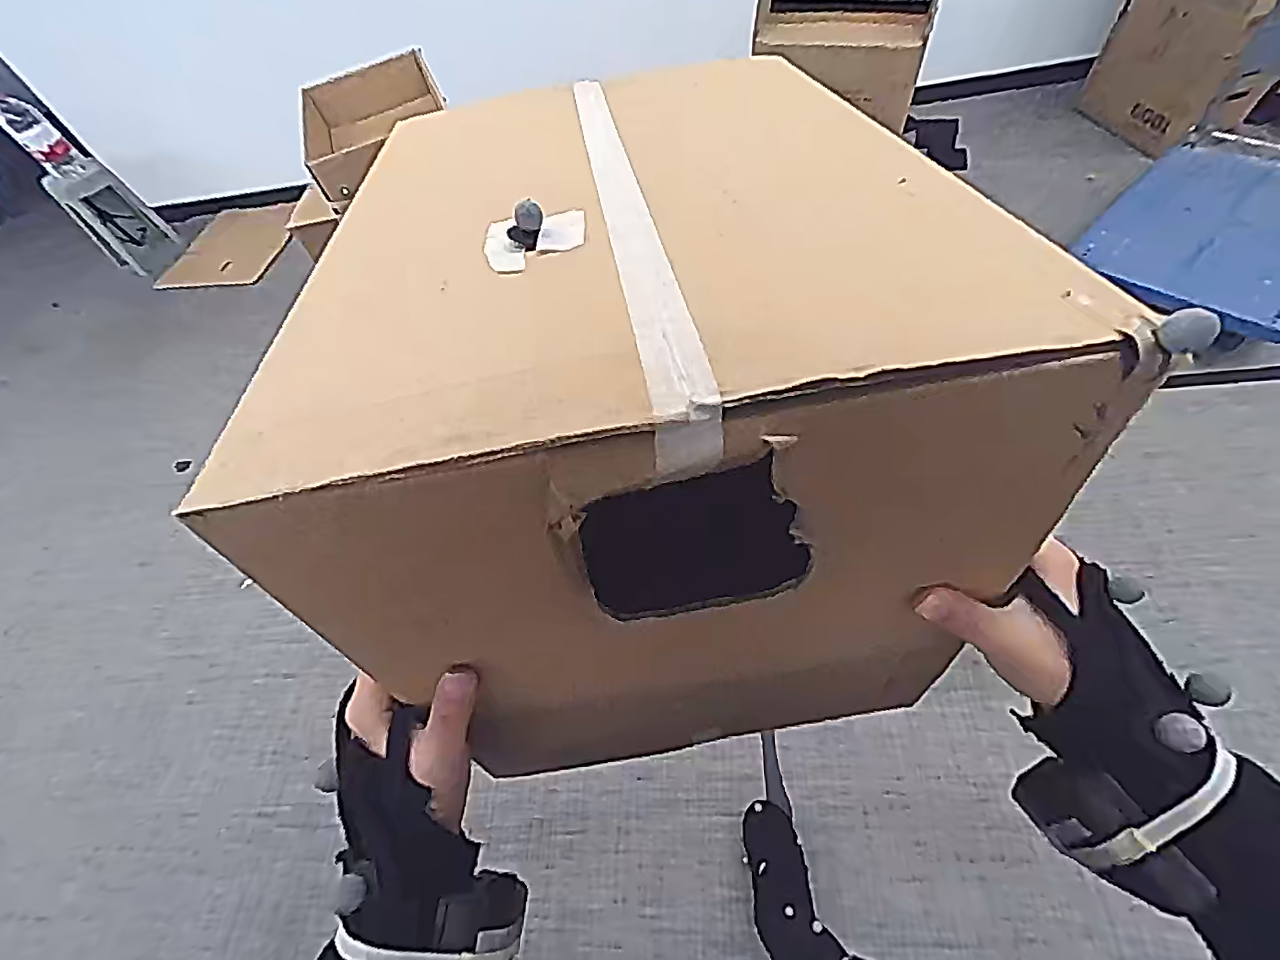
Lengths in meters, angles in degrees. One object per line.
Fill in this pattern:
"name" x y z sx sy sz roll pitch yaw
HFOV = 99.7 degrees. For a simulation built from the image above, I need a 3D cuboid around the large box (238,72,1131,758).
"large box" 0.001 -0.063 0.419 0.320 0.320 0.408 -11 48 0
